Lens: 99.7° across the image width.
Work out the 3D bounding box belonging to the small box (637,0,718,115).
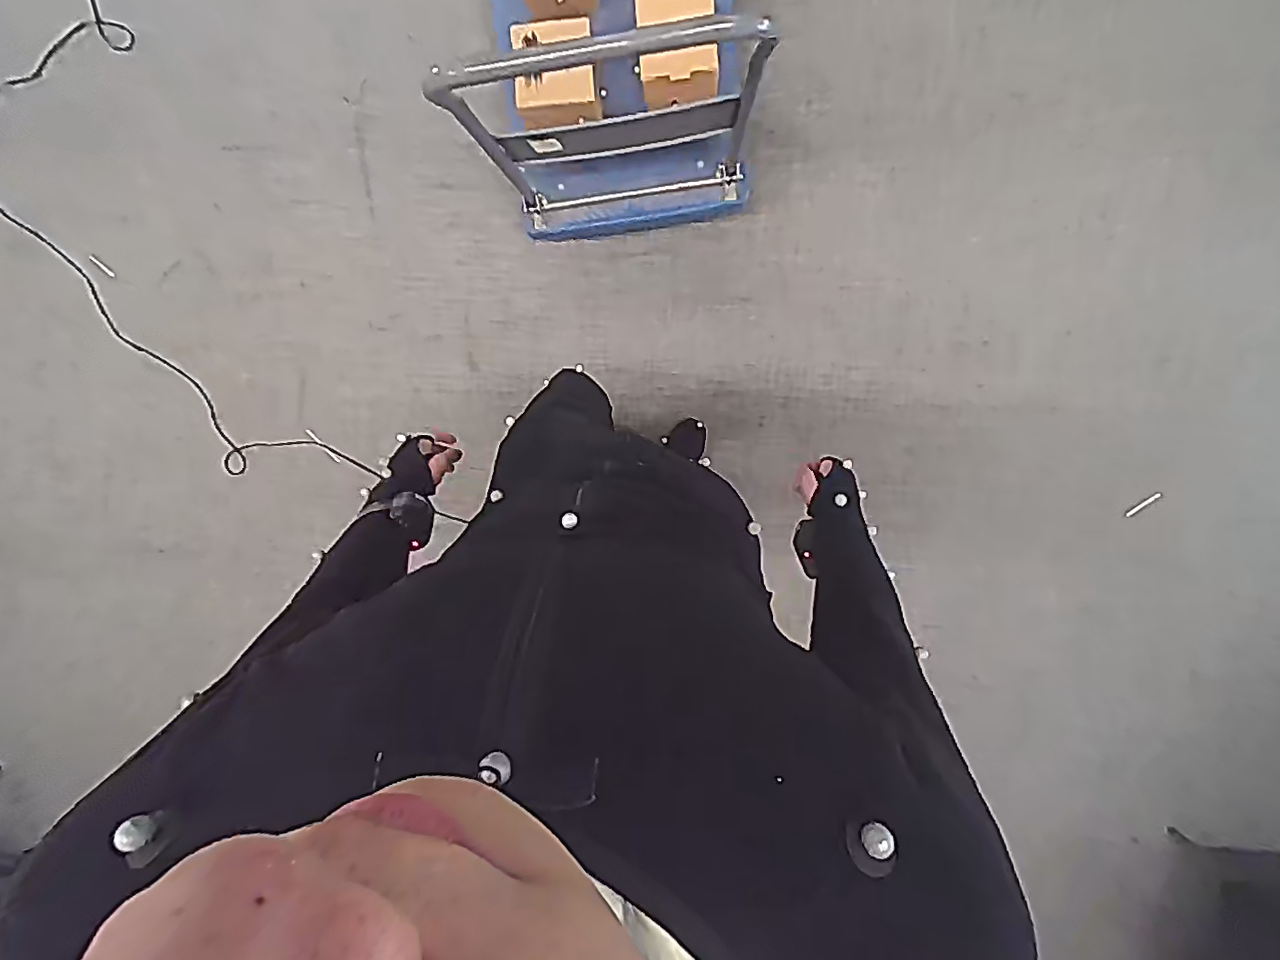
[{"bbox_3d":[0.084,-0.973,1.225,0.168,0.176,0.179,-5,99,6],"label":"small box"}]

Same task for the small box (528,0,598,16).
[{"bbox_3d":[-0.194,-1.196,1.215,0.168,0.176,0.179,-10,98,6],"label":"small box"}]
